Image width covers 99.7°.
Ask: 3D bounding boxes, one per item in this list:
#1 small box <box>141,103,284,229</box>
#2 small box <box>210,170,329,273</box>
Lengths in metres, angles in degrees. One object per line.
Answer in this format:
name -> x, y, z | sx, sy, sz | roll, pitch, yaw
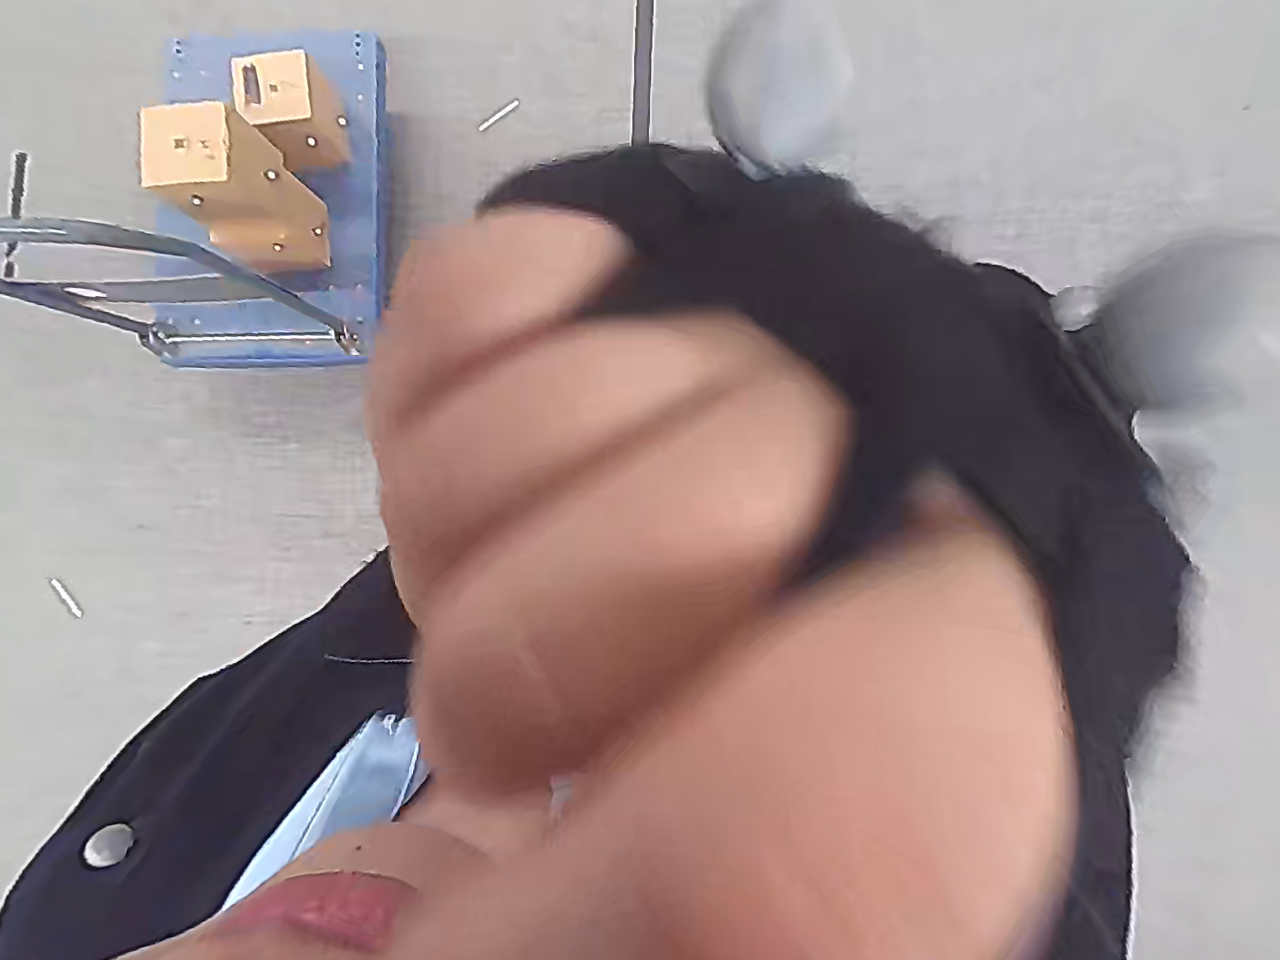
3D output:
small box -> -0.890, -0.649, 1.138 | 0.179, 0.176, 0.168 | -4, 87, 1
small box -> -0.885, -0.615, 1.301 | 0.179, 0.176, 0.168 | -4, 87, 1
